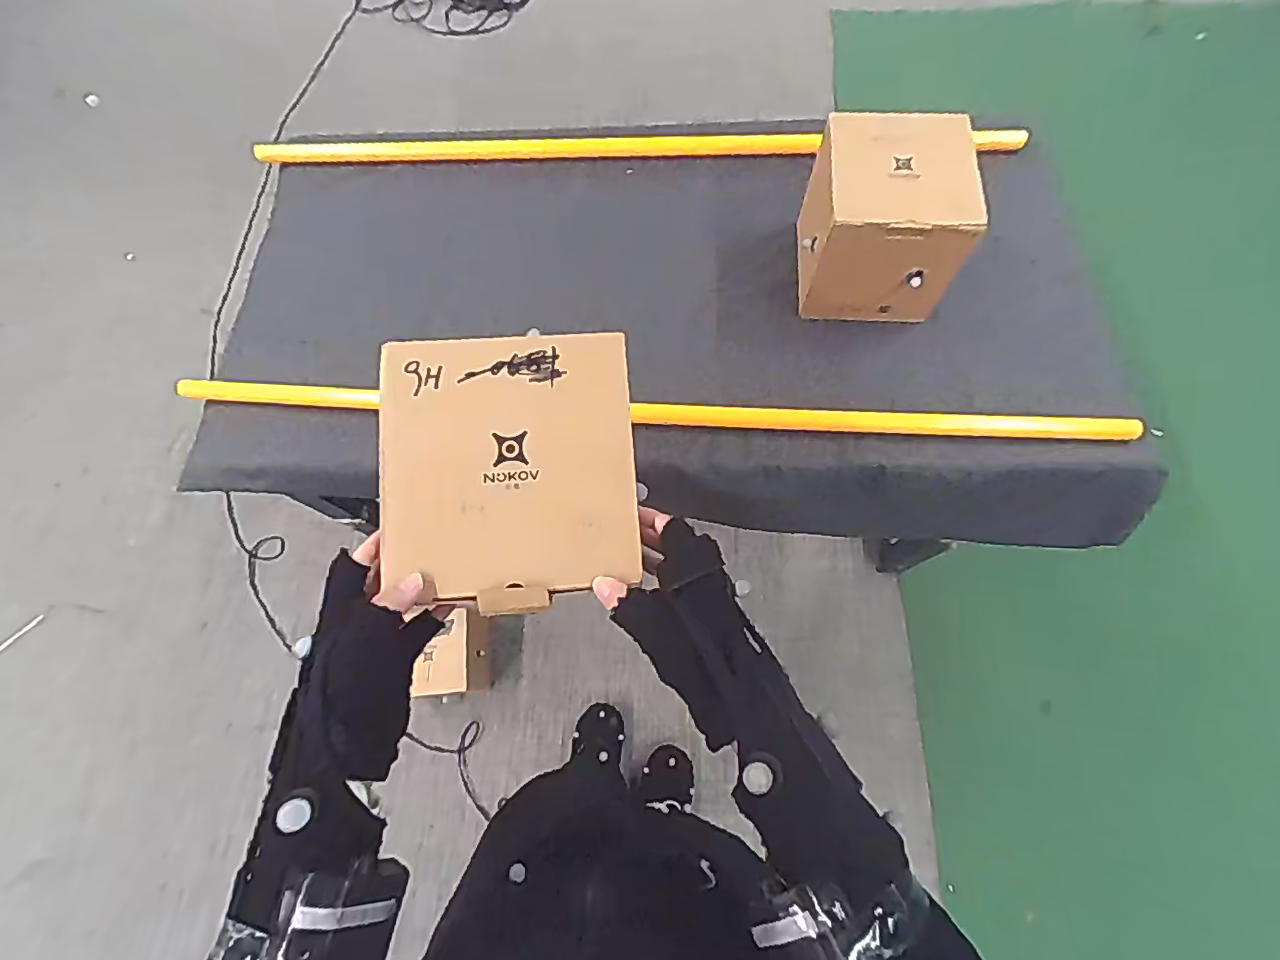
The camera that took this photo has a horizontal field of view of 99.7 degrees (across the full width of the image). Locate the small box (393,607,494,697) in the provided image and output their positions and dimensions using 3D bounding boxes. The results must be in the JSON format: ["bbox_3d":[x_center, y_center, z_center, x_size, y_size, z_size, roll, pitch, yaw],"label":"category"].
[{"bbox_3d":[-0.440,0.397,1.237,0.168,0.176,0.179,-7,69,1],"label":"small box"}]

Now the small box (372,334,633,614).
[{"bbox_3d":[-0.095,0.004,0.438,0.168,0.176,0.179,-6,81,-4],"label":"small box"}]

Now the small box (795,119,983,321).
[{"bbox_3d":[0.301,-0.324,0.693,0.168,0.176,0.179,3,68,3],"label":"small box"}]
